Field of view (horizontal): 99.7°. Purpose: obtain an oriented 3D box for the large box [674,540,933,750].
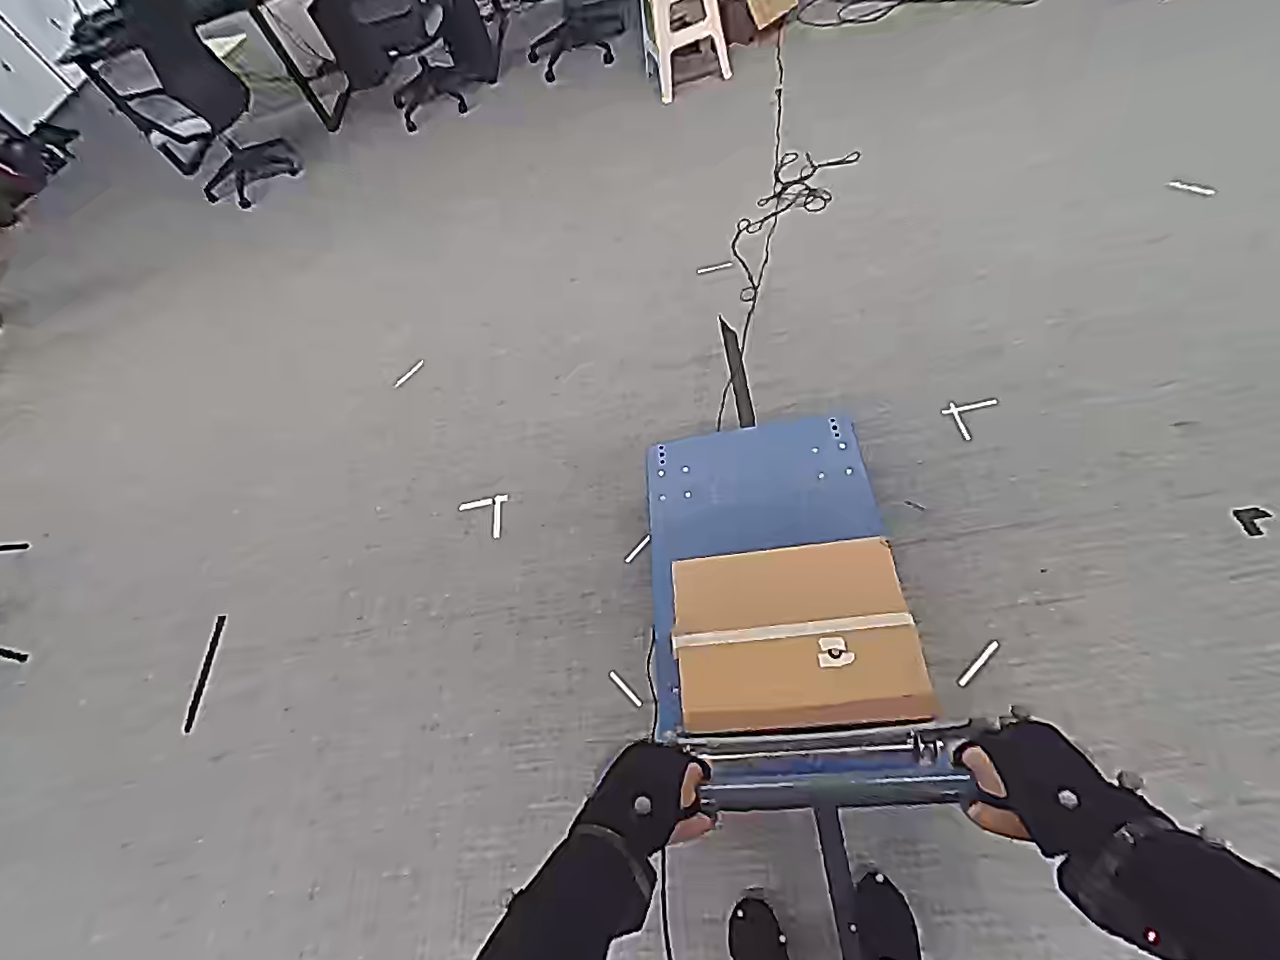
[{"bbox_3d":[0.299,0.348,1.093,0.408,0.320,0.320,-8,59,9],"label":"large box"}]
